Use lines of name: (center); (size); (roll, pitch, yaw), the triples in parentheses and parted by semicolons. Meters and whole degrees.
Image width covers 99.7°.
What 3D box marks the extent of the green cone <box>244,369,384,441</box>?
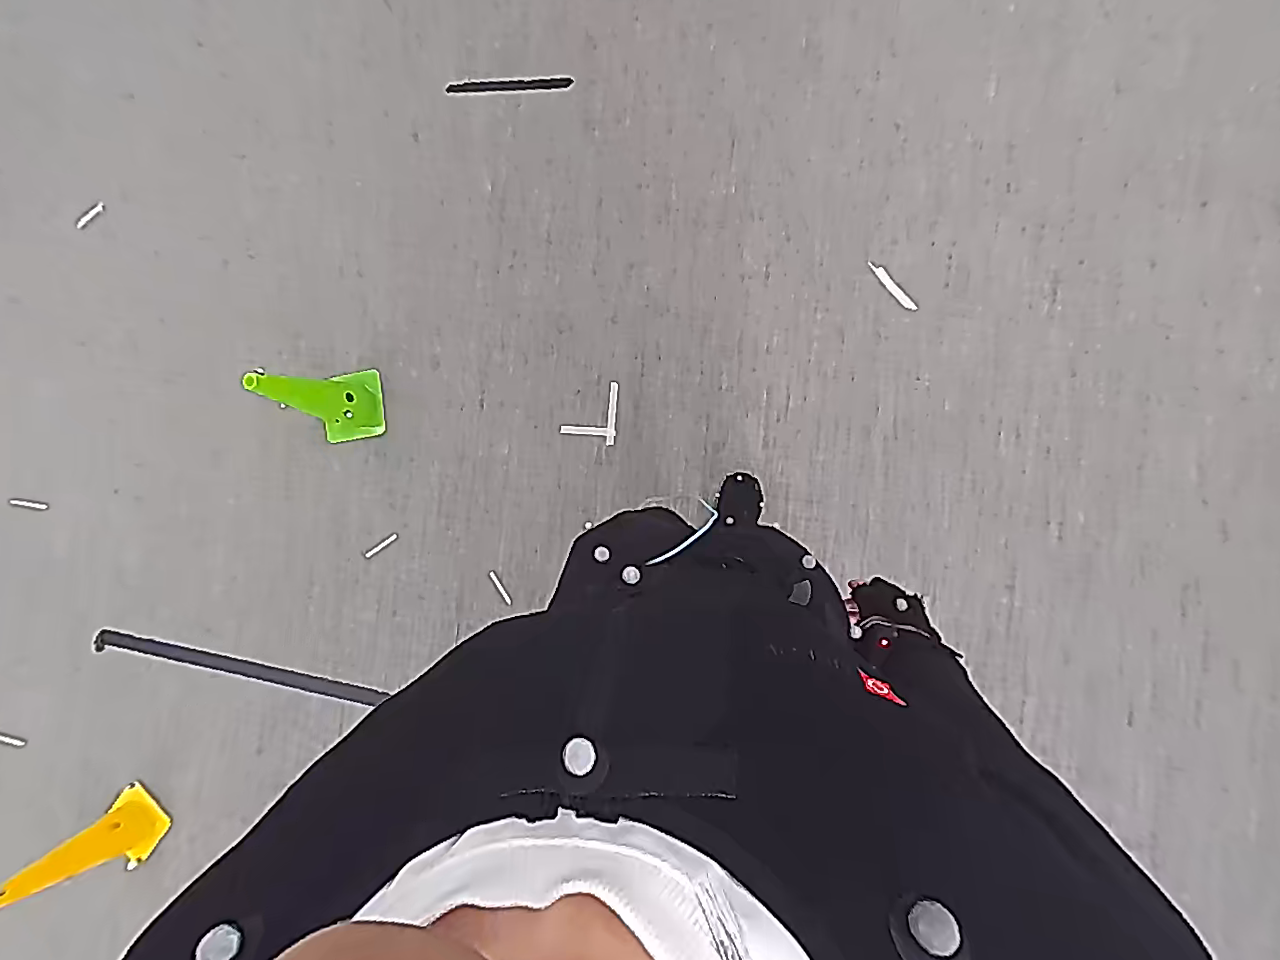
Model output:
green cone: (-0.898, -0.230, 1.458); (0.202, 0.368, 0.200); (-9, 87, 9)
